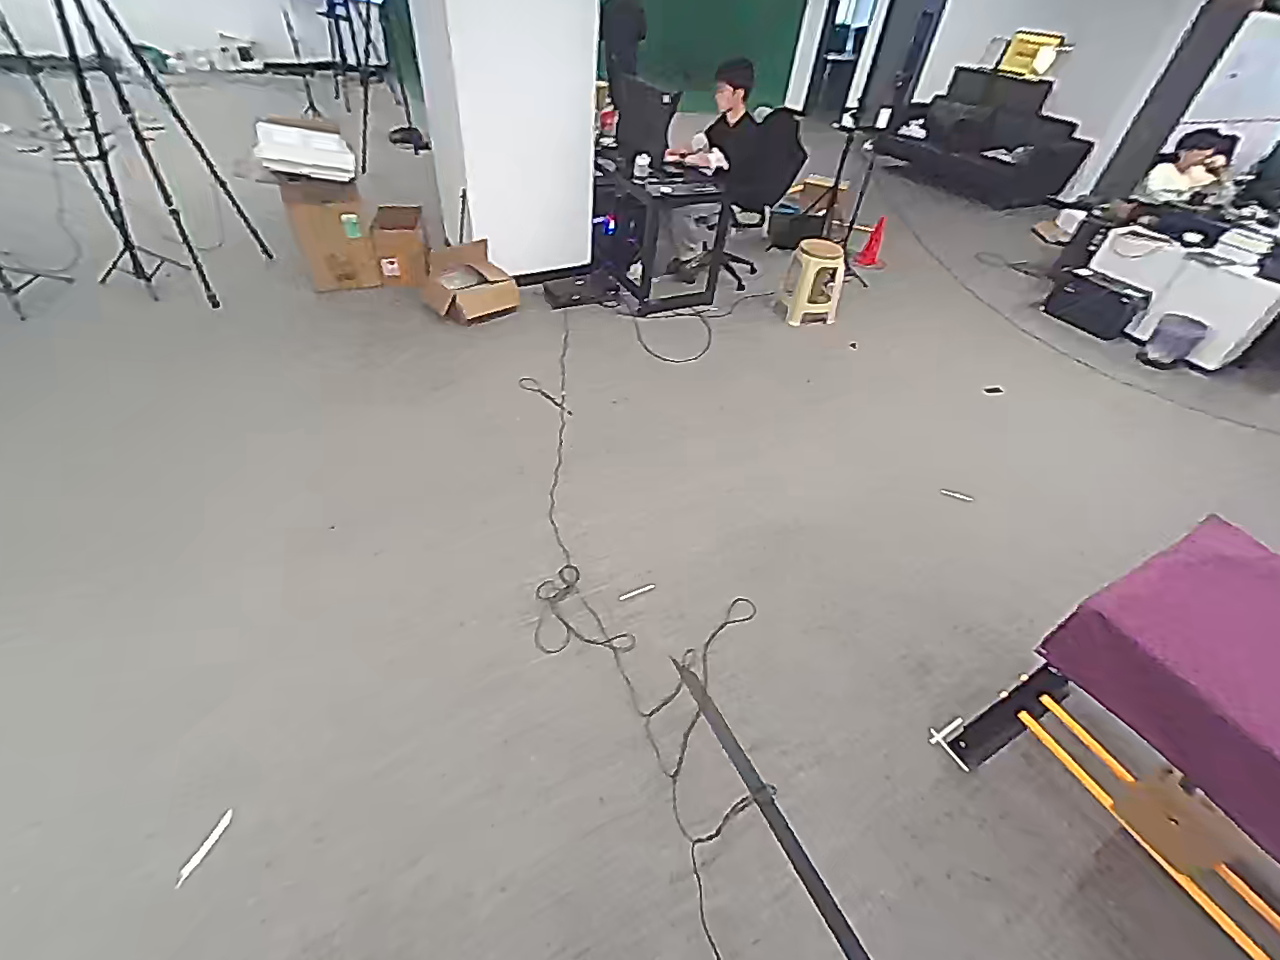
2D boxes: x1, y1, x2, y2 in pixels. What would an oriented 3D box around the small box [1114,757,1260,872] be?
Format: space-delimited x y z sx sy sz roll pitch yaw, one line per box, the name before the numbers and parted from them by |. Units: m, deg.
small box | 1.379 0.853 1.377 0.168 0.176 0.179 -19 51 -25
